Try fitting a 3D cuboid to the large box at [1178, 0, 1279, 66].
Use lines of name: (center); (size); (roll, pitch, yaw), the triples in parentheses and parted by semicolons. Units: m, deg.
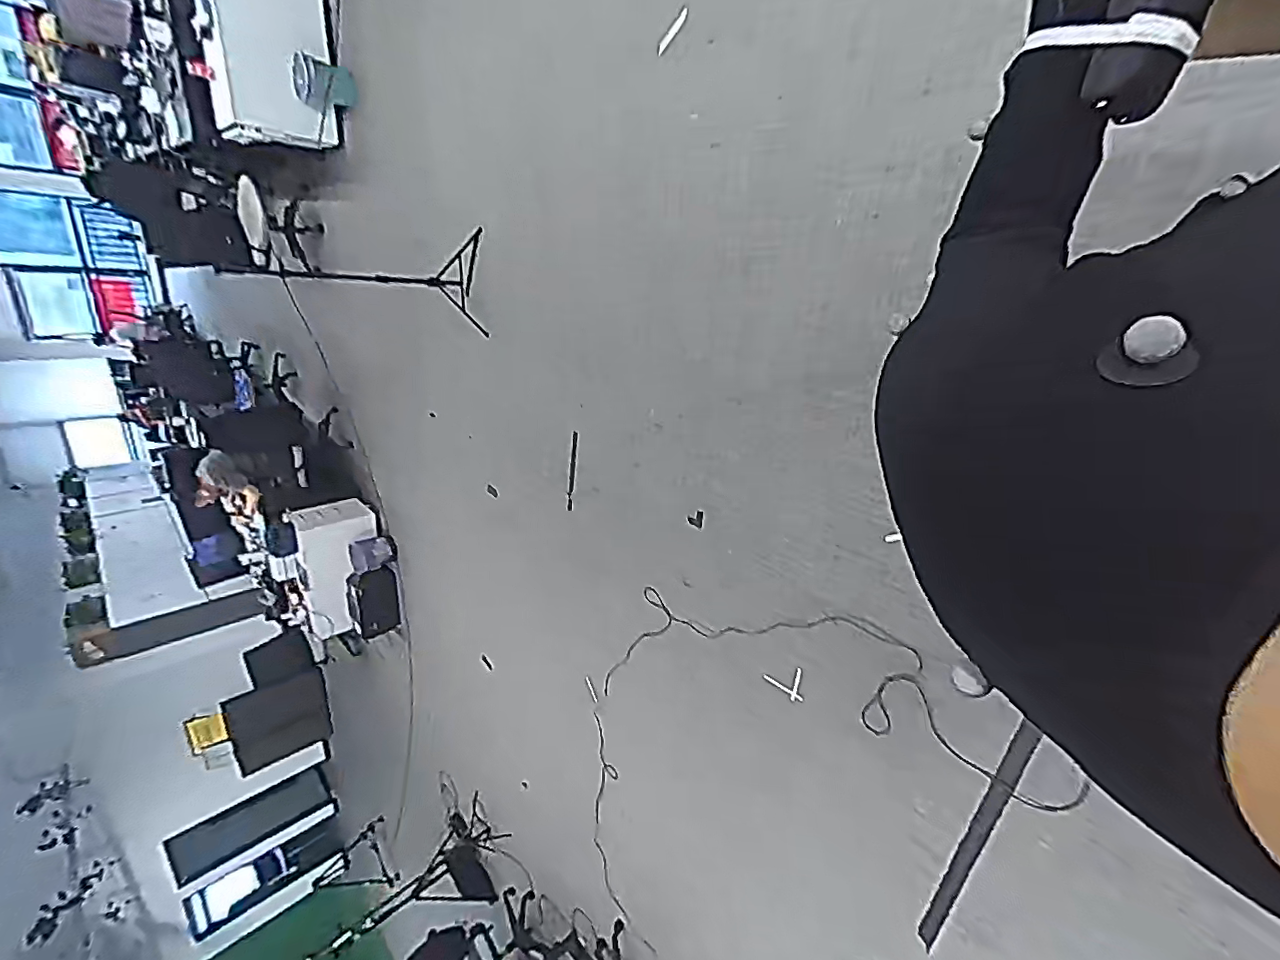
large box: (0.566, -0.423, 0.237); (0.408, 0.320, 0.320); (25, 125, 36)
